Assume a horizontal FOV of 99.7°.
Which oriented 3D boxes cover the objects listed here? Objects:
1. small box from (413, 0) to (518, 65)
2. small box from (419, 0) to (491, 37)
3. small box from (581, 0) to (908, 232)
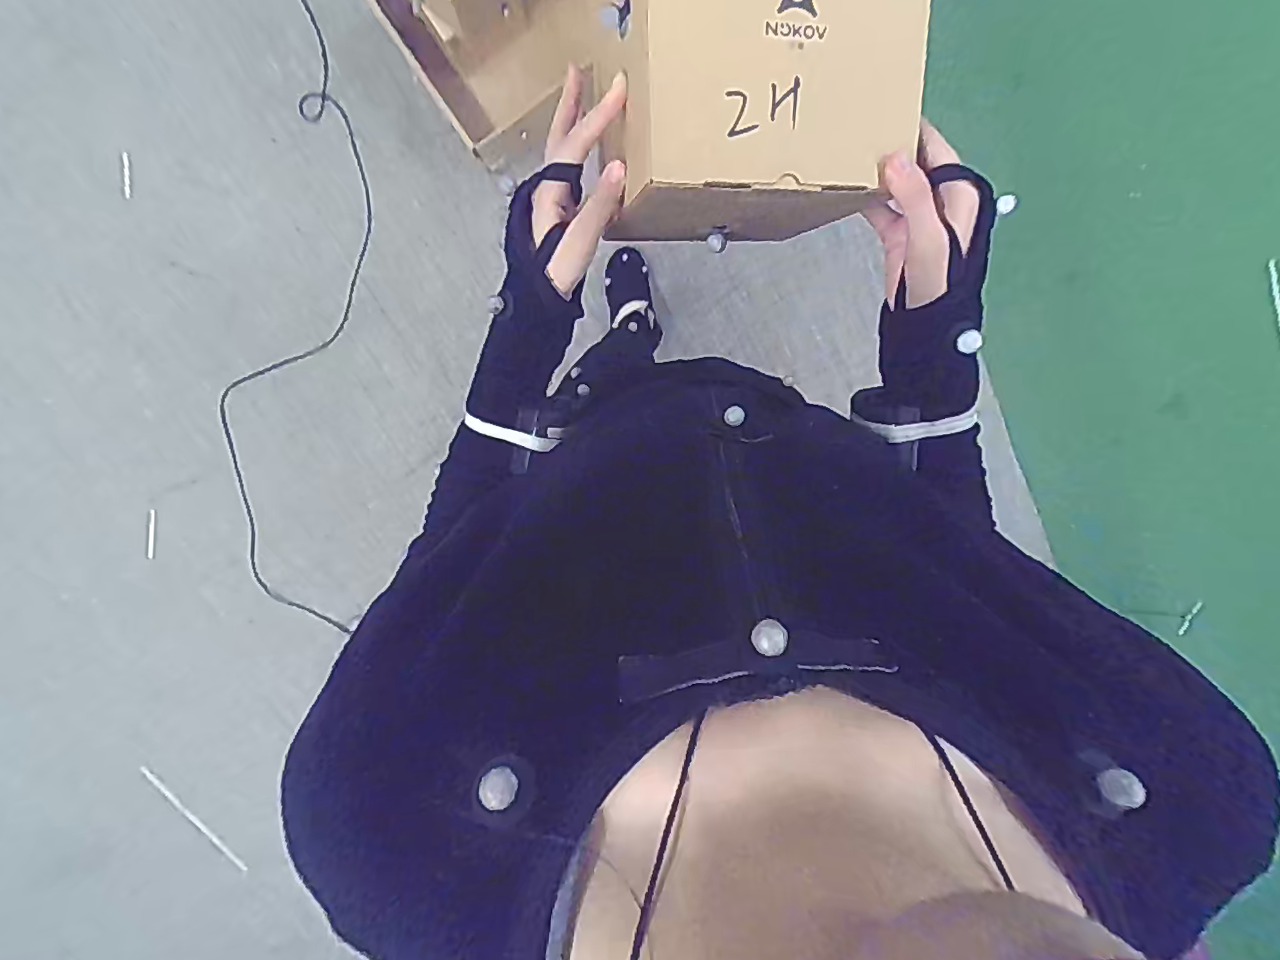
[{"bbox_3d":[-0.363,-0.979,1.068,0.179,0.176,0.168,-34,107,5],"label":"small box"},{"bbox_3d":[-0.334,-0.924,0.917,0.168,0.176,0.179,38,100,-14],"label":"small box"},{"bbox_3d":[0.054,-0.279,0.366,0.168,0.176,0.179,-5,106,-12],"label":"small box"}]
